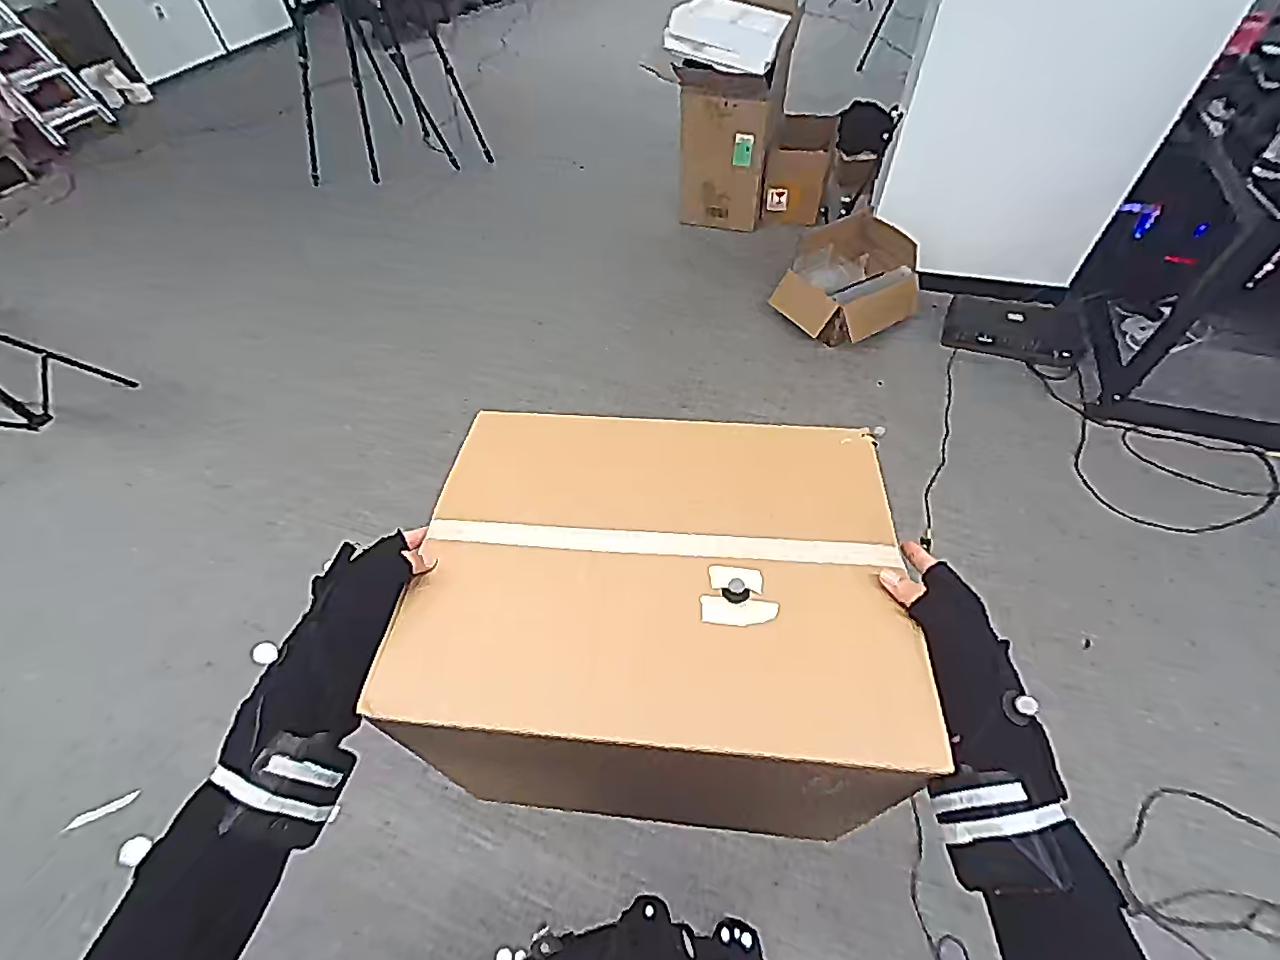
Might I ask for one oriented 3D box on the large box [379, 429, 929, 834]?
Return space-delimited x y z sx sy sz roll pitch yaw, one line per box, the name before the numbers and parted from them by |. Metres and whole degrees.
large box | 0.018 0.165 0.591 0.408 0.320 0.320 4 50 5
